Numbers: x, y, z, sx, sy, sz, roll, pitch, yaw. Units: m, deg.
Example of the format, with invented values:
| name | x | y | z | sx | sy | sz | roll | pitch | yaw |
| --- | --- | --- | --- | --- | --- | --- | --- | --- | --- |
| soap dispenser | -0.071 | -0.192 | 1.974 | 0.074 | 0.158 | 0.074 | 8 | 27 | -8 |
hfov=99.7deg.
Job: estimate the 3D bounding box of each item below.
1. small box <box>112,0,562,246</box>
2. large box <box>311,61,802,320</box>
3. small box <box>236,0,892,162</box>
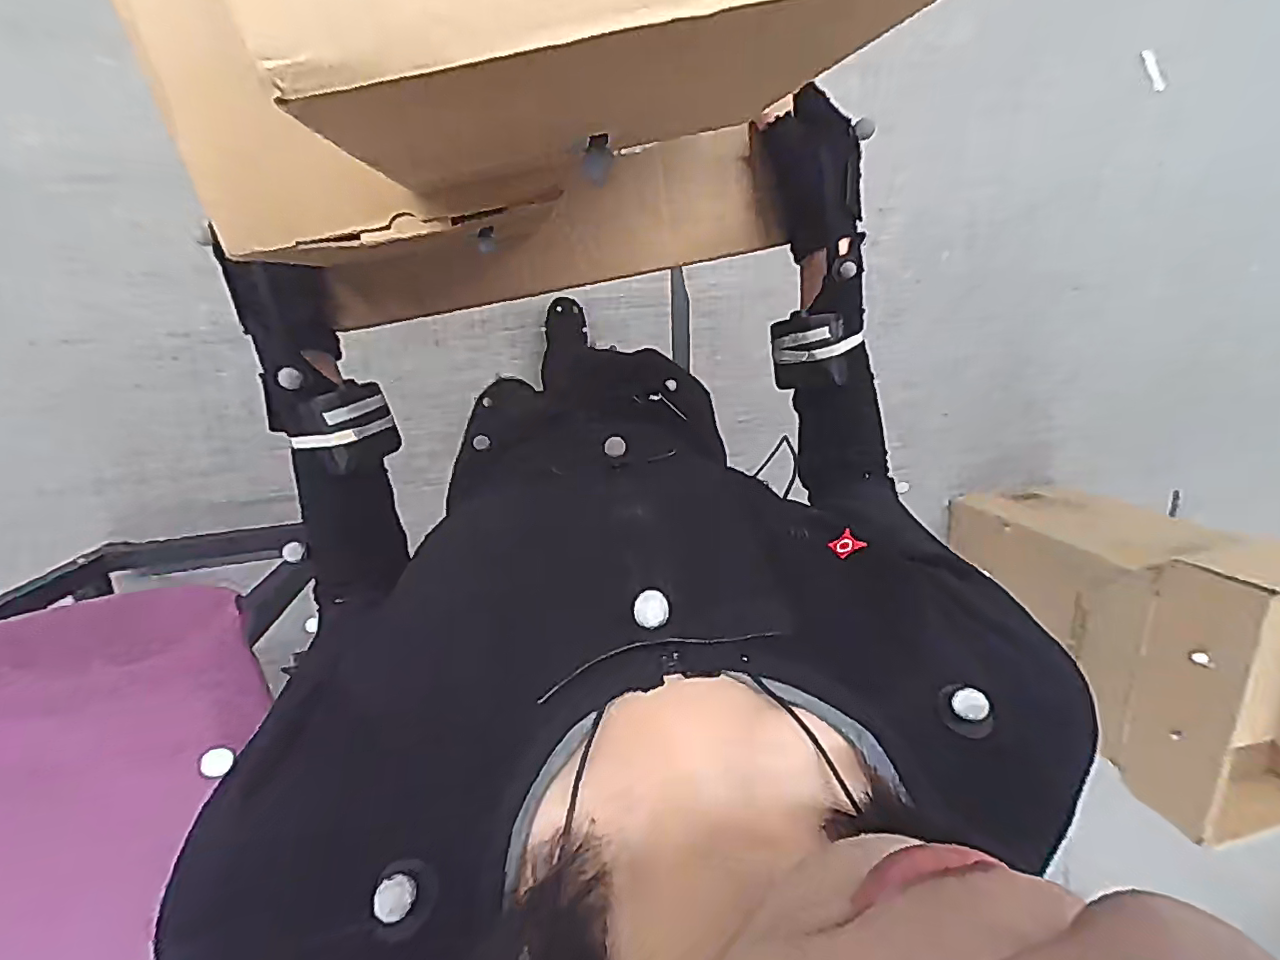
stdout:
| name | x | y | z | sx | sy | sz | roll | pitch | yaw |
| --- | --- | --- | --- | --- | --- | --- | --- | --- | --- |
| small box | -0.148 | -0.235 | 0.298 | 0.168 | 0.176 | 0.179 | -16 | 112 | -9 |
| large box | -0.110 | -0.365 | 0.524 | 0.408 | 0.320 | 0.320 | -15 | 115 | -8 |
| small box | -0.026 | -0.210 | 0.155 | 0.179 | 0.176 | 0.168 | -16 | 114 | -6 |
